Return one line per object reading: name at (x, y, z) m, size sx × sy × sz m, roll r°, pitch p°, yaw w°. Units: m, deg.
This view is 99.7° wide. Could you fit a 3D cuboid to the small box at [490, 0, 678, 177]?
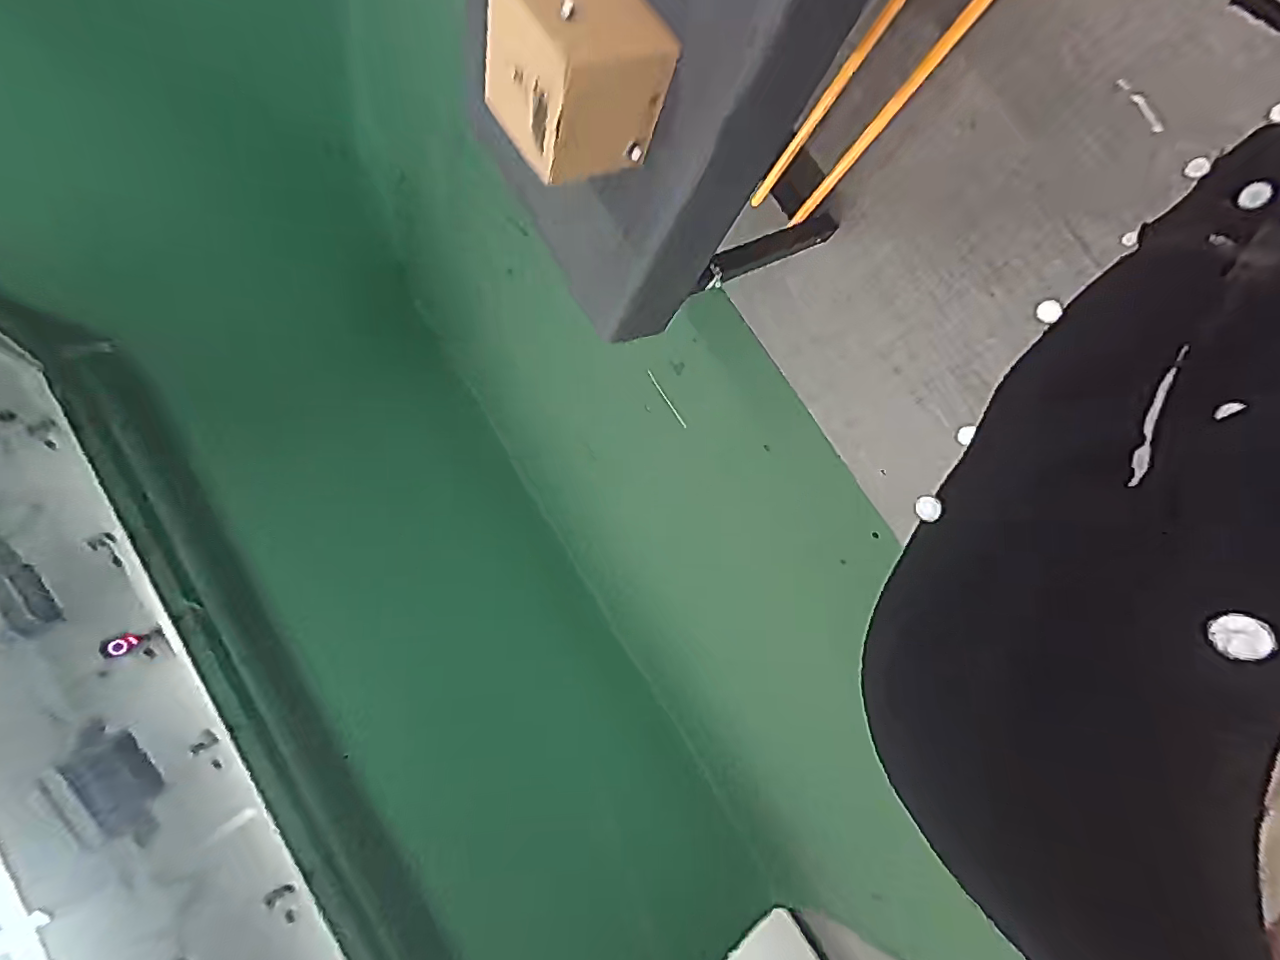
small box at (-0.077, -0.547, 0.714) m, size 0.179 × 0.176 × 0.168 m, roll 57°, pitch 154°, yaw 9°
